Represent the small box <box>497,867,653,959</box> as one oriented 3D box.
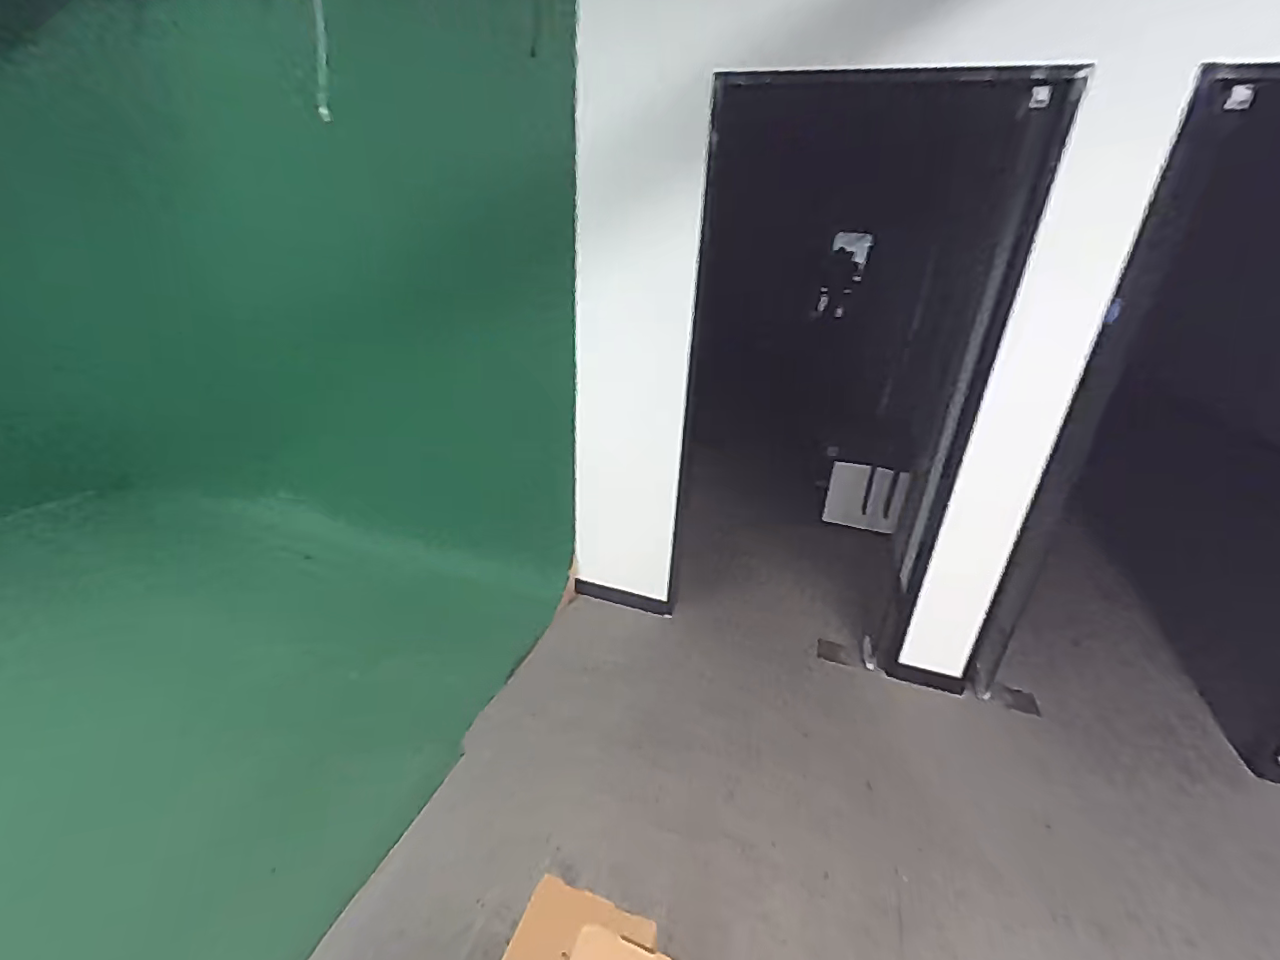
[{"bbox_3d":[-0.091,0.658,0.689,0.168,0.176,0.179,13,27,16],"label":"small box"}]
